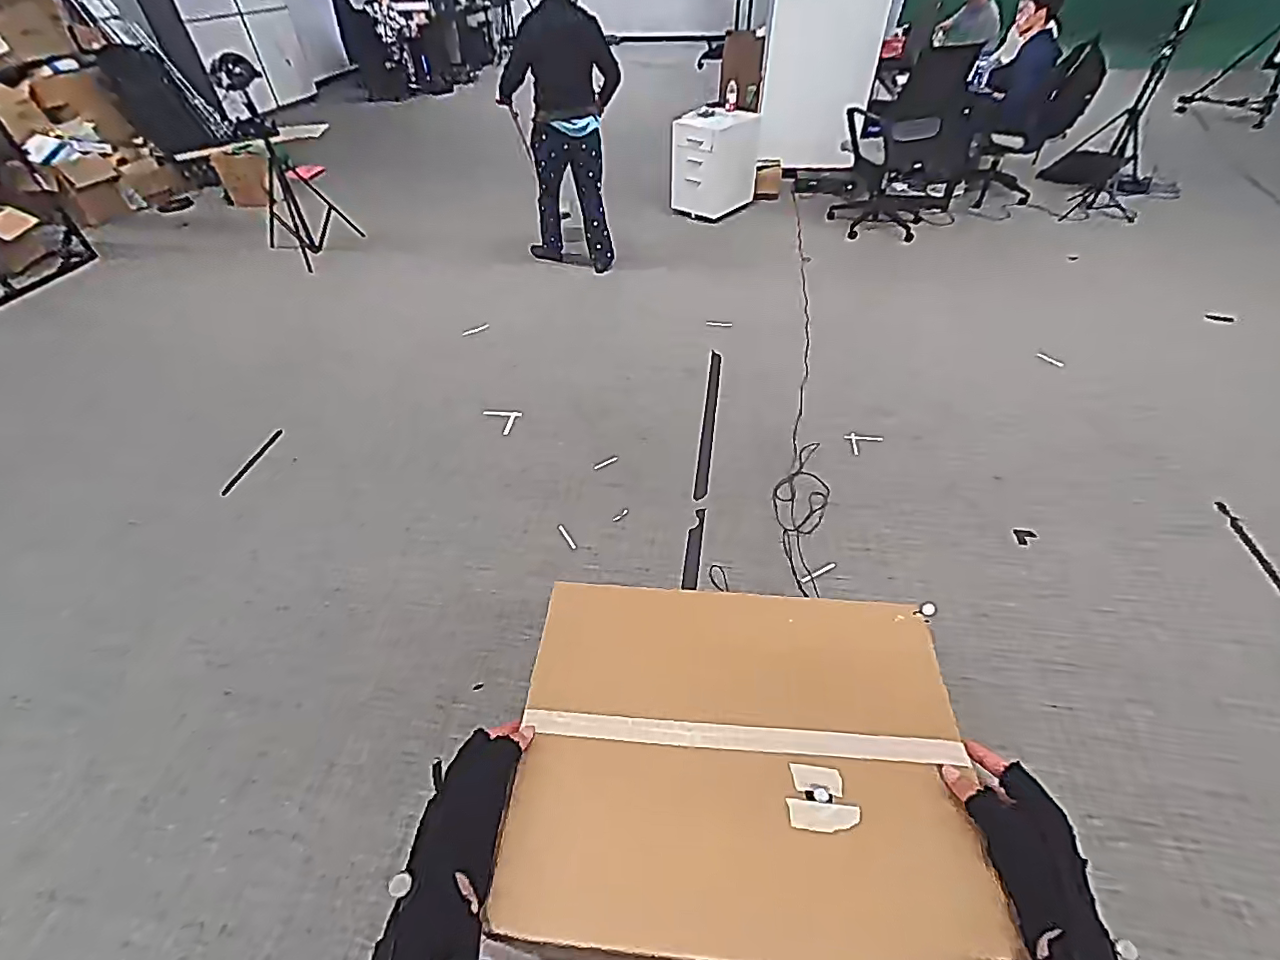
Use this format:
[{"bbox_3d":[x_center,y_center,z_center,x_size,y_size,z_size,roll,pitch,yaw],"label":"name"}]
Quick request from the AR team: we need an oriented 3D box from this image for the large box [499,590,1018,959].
[{"bbox_3d":[0.097,0.349,0.619,0.408,0.320,0.320,3,47,5],"label":"large box"}]
